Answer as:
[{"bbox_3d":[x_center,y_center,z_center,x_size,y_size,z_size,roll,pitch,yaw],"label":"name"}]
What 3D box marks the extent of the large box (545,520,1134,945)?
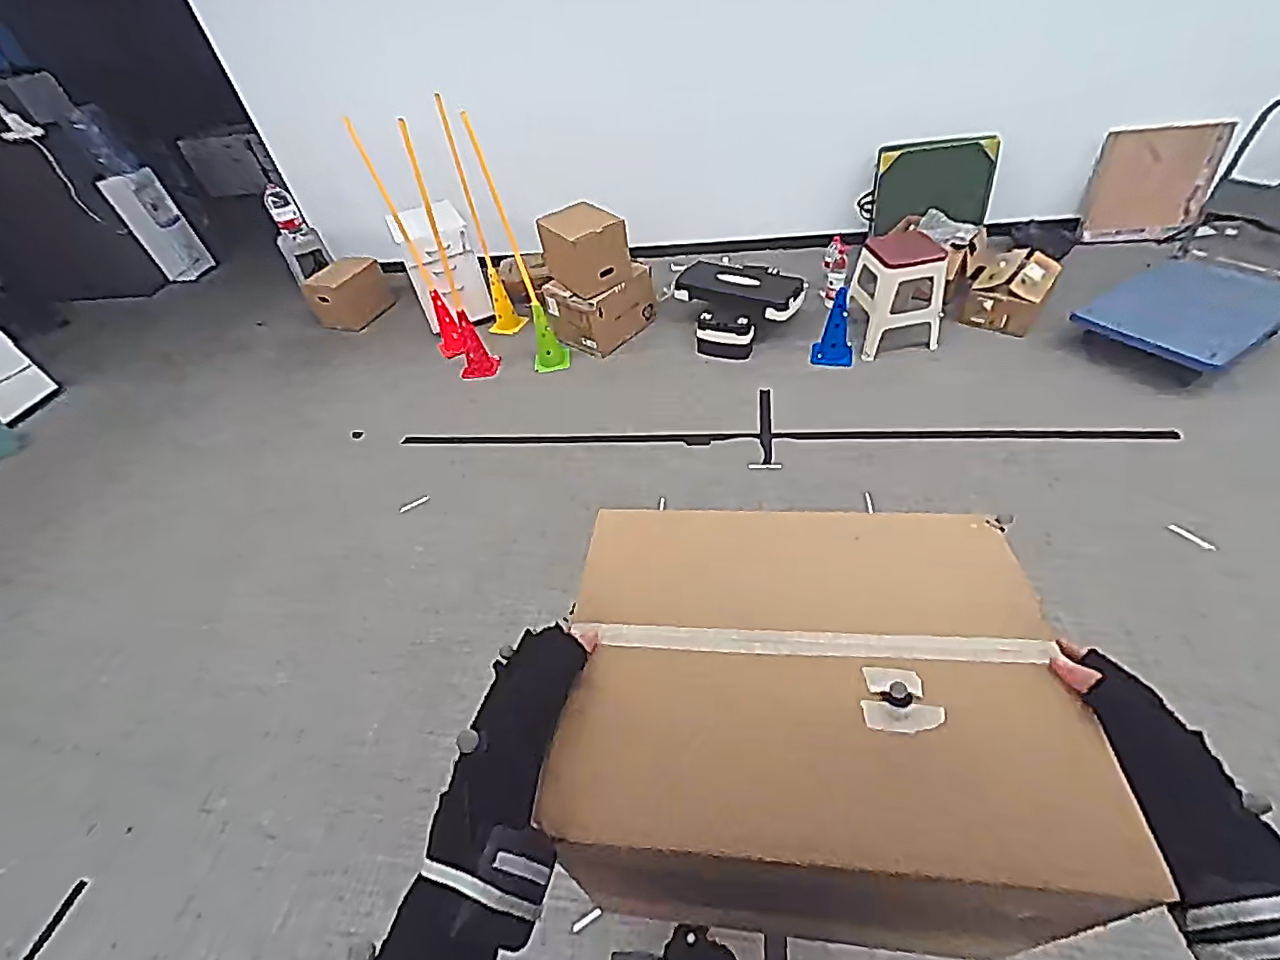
[{"bbox_3d":[0.150,0.257,0.579,0.408,0.320,0.320,0,44,8],"label":"large box"}]
